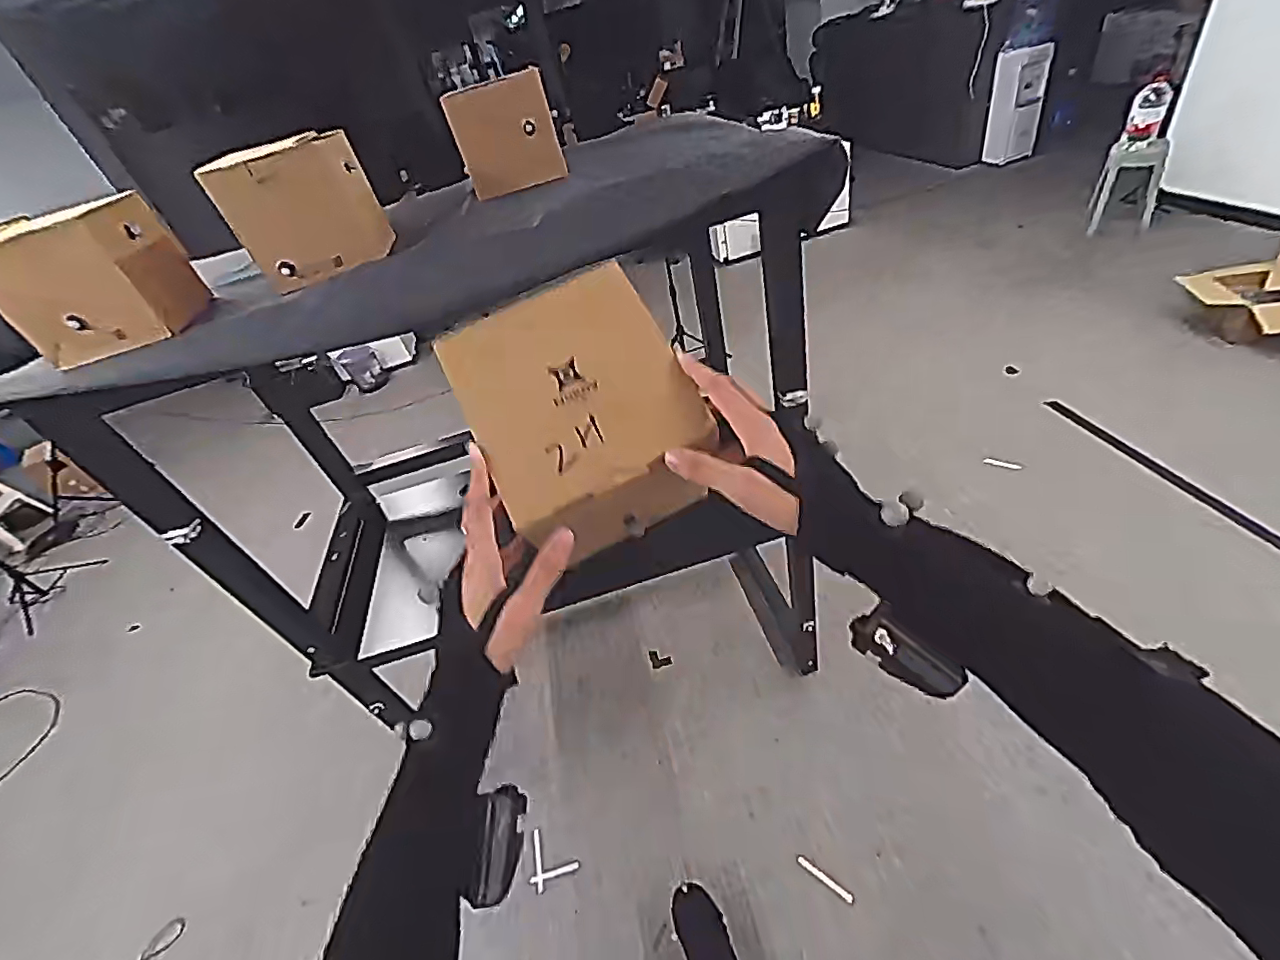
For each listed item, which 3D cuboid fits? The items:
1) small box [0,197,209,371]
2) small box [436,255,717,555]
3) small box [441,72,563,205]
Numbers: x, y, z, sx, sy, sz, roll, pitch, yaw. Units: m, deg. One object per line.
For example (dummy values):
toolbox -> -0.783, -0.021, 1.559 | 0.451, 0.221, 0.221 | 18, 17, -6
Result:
small box -> -0.777, -0.283, 0.779 | 0.168, 0.176, 0.179 | -20, 40, -4
small box -> -0.050, -0.053, 0.483 | 0.168, 0.176, 0.179 | -26, 73, -5
small box -> -0.248, -0.643, 1.019 | 0.179, 0.176, 0.168 | -16, 39, 0
